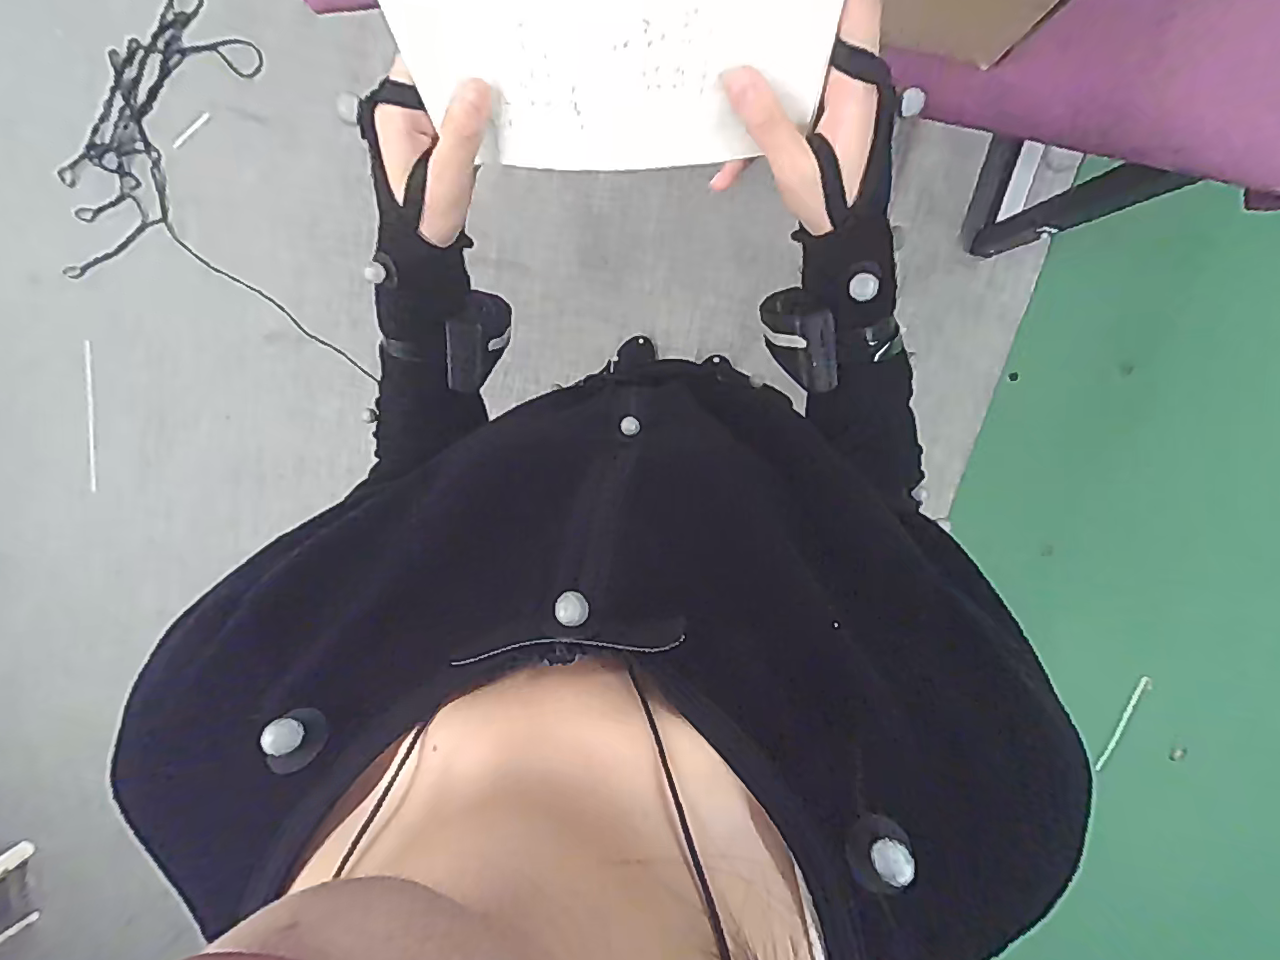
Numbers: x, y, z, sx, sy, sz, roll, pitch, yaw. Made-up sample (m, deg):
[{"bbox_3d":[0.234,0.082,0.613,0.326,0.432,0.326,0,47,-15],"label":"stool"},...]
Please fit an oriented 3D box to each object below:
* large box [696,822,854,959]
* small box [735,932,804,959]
[{"bbox_3d":[0.374,1.268,1.599,0.408,0.320,0.320,0,103,4],"label":"large box"},{"bbox_3d":[0.327,1.288,1.354,0.168,0.176,0.179,6,102,5],"label":"small box"}]
